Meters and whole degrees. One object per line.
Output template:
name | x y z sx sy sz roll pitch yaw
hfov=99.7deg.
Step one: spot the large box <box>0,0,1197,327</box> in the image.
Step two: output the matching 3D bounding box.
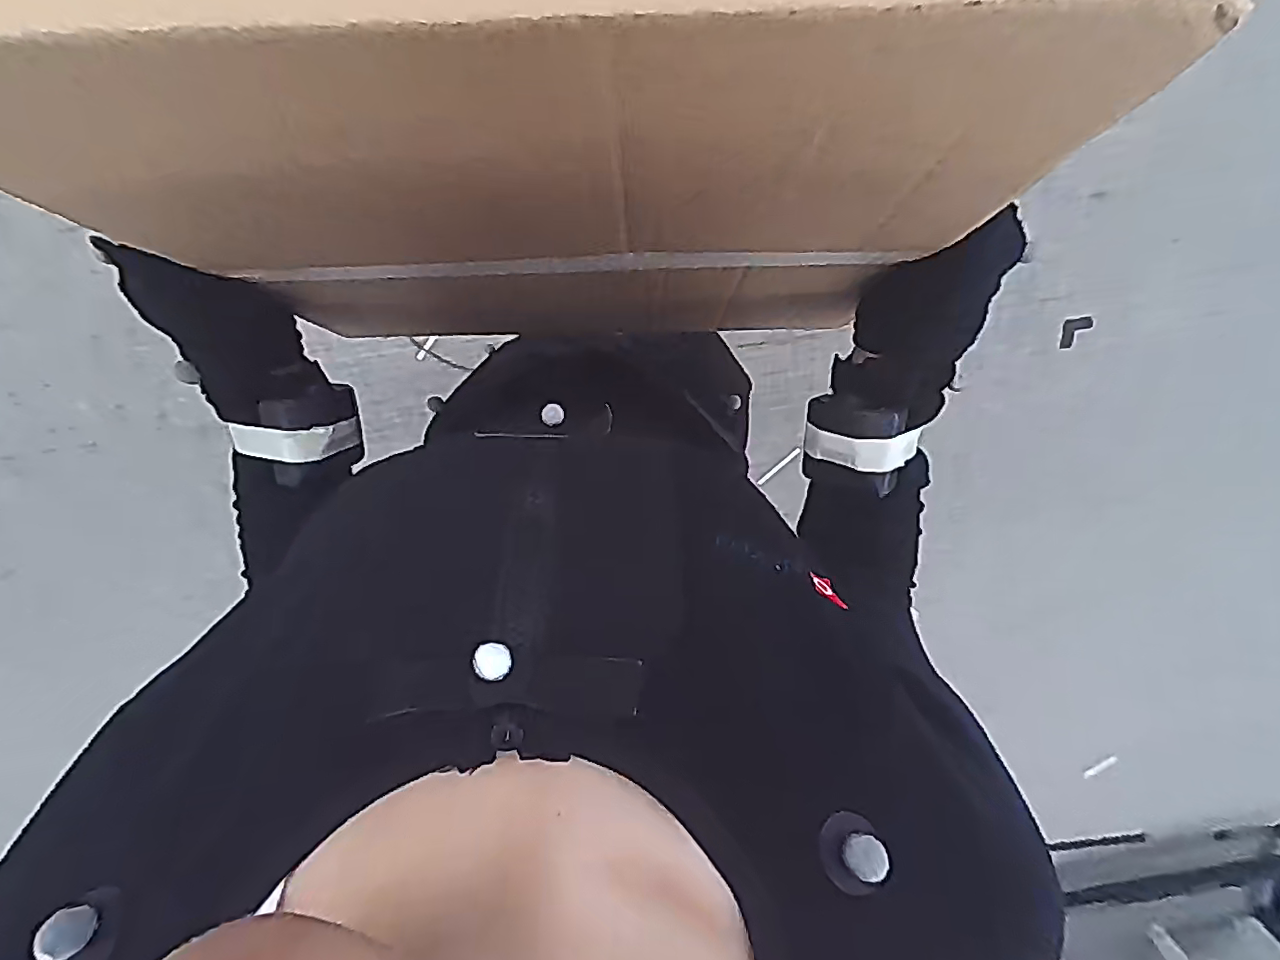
large box | -0.045 -0.279 0.292 0.408 0.320 0.320 -1 92 1
